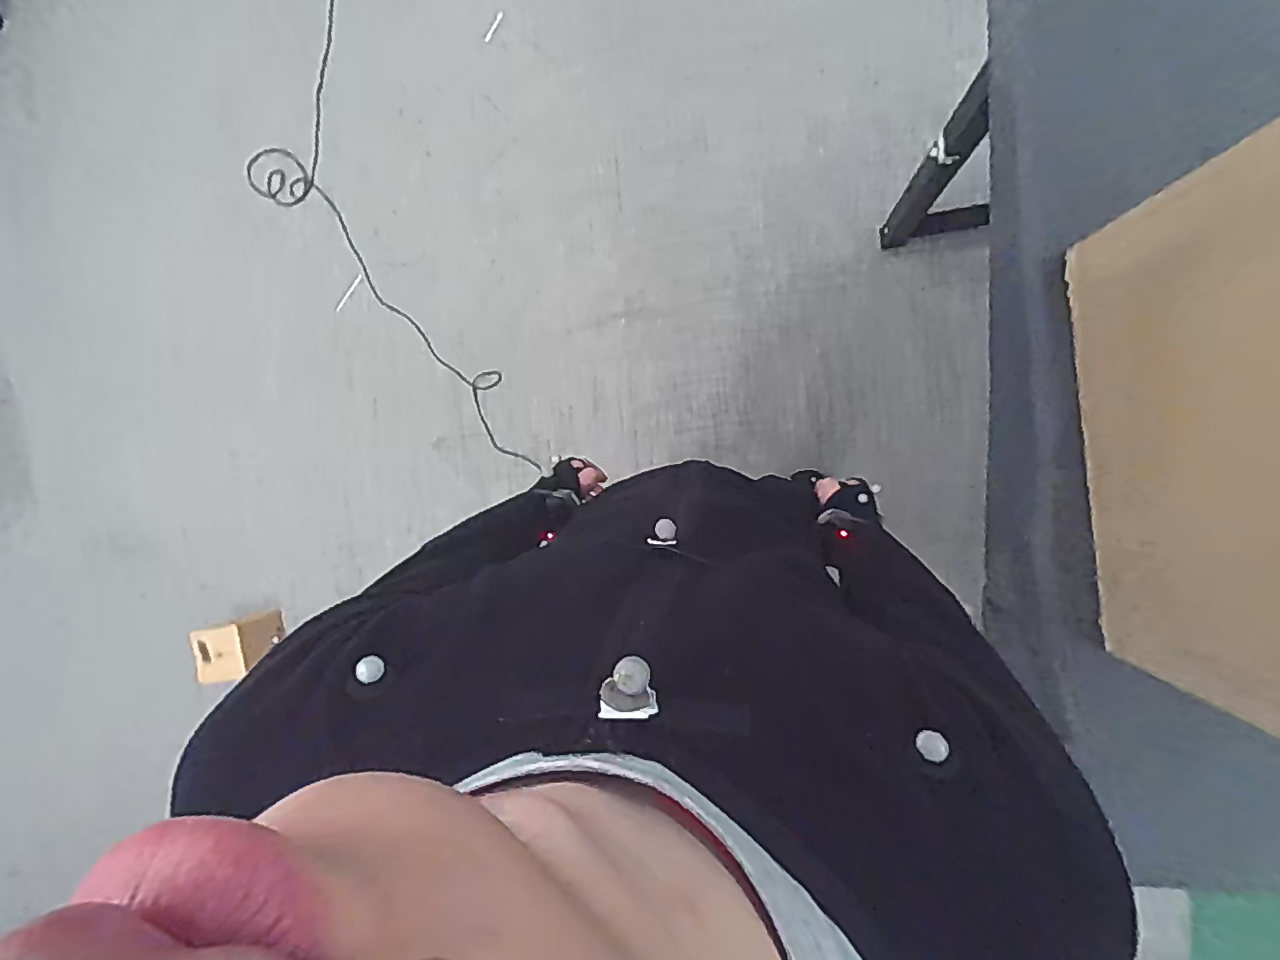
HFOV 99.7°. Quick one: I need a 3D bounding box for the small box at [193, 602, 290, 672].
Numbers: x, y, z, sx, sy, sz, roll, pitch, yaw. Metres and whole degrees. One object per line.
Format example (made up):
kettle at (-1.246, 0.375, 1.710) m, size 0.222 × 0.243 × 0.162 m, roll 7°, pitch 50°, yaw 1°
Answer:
small box at (-1.274, 0.500, 1.736) m, size 0.179 × 0.176 × 0.168 m, roll -10°, pitch 92°, yaw 9°
